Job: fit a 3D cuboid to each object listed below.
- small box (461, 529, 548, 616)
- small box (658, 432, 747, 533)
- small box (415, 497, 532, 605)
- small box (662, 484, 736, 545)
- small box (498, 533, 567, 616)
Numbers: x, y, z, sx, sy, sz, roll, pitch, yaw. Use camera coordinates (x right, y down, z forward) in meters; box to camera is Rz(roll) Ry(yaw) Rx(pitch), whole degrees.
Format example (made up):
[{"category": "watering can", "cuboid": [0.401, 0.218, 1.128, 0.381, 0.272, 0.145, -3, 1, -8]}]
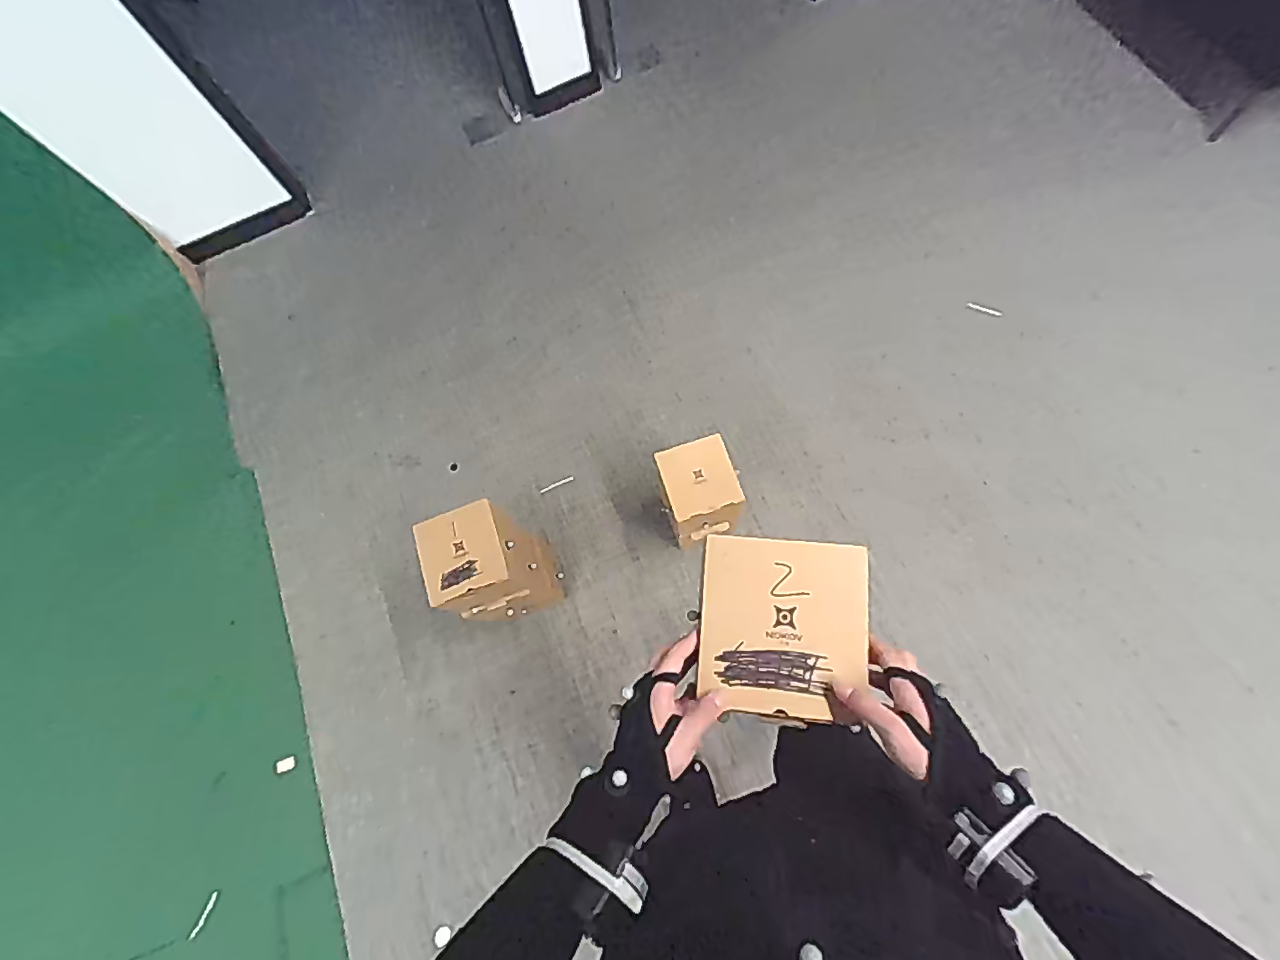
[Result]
[{"category": "small box", "cuboid": [-0.335, 0.218, 1.302, 0.168, 0.176, 0.179, -19, 73, 0]}, {"category": "small box", "cuboid": [0.146, 0.012, 1.316, 0.168, 0.176, 0.179, -18, 72, -1]}, {"category": "small box", "cuboid": [-0.345, 0.159, 1.148, 0.168, 0.176, 0.179, -21, 72, -1]}, {"category": "small box", "cuboid": [0.156, 0.065, 1.467, 0.168, 0.176, 0.179, -14, 73, 4]}, {"category": "small box", "cuboid": [-0.316, 0.261, 1.458, 0.179, 0.176, 0.168, -19, 72, 0]}]
